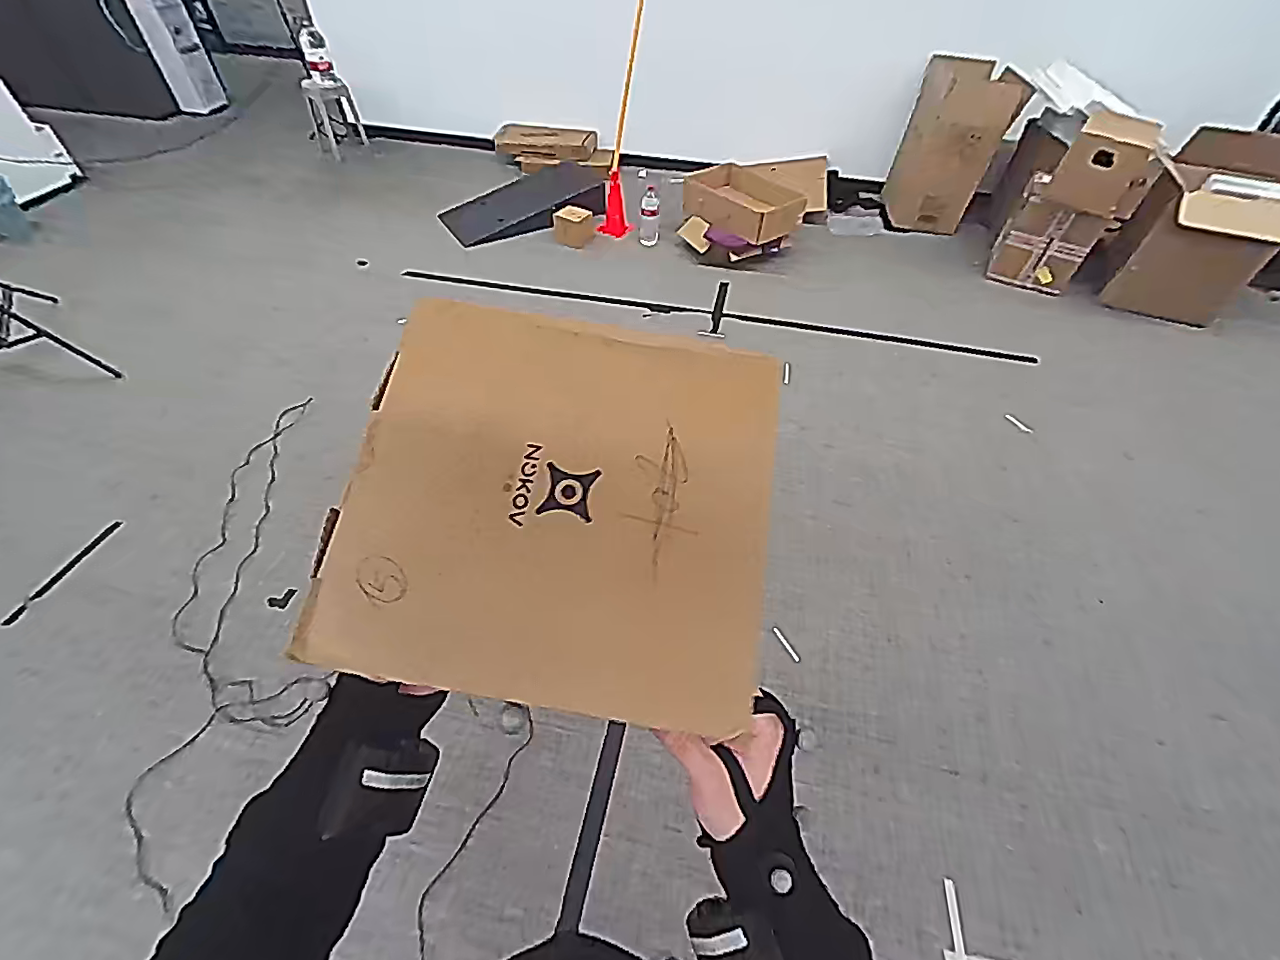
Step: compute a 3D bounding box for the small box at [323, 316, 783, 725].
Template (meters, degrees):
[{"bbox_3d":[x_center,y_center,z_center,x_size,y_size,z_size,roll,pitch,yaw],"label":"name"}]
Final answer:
[{"bbox_3d":[-0.032,0.035,0.312,0.179,0.176,0.168,9,70,-1],"label":"small box"}]
